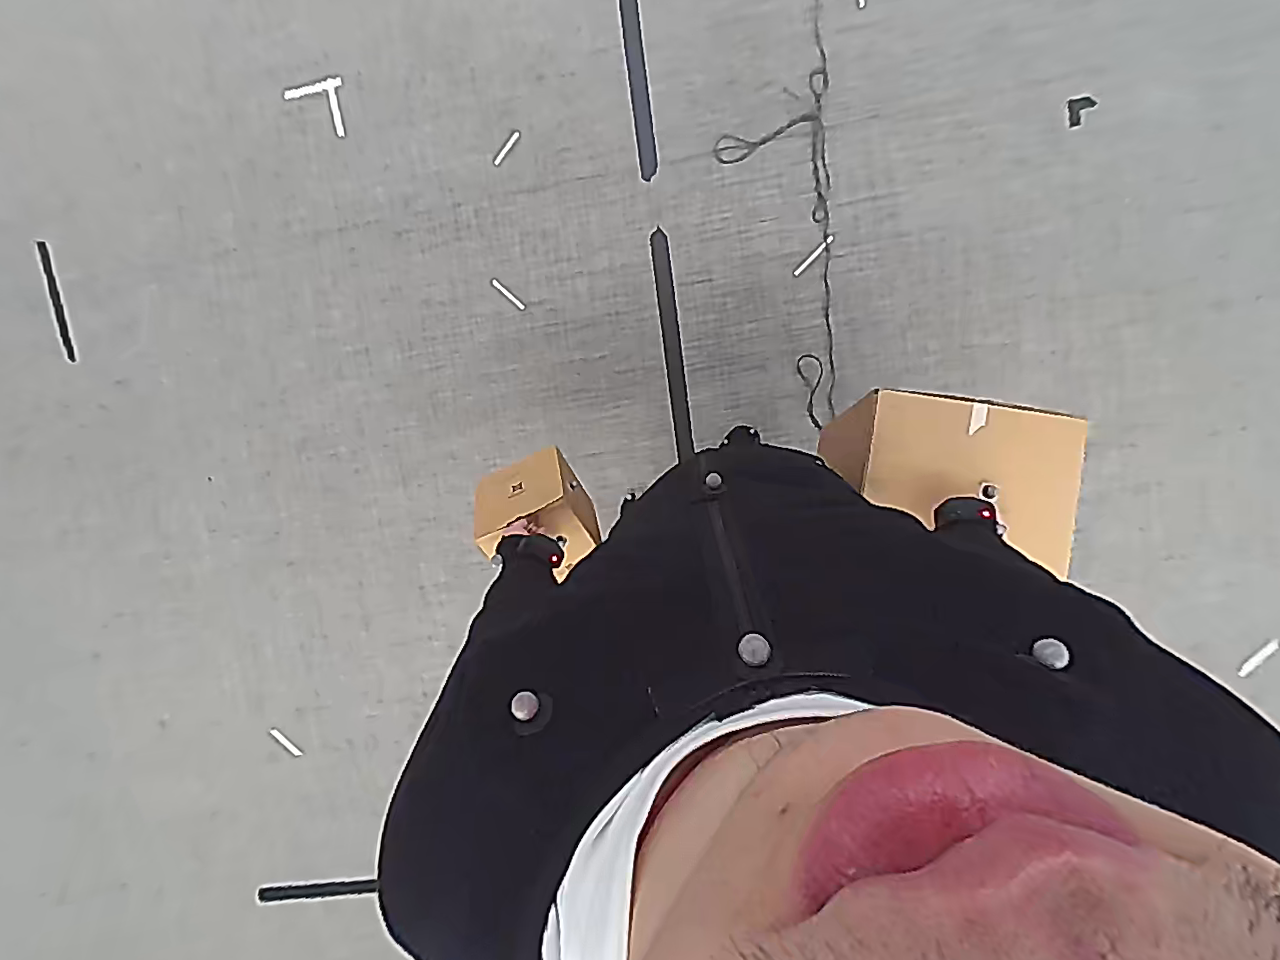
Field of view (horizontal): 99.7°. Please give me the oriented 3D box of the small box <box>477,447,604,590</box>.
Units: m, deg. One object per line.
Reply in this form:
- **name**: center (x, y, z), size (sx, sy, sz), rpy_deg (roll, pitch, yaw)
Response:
- **small box**: center (-0.179, 0.077, 0.989), size (0.168, 0.179, 0.176), rpy_deg (-25, 125, 3)
